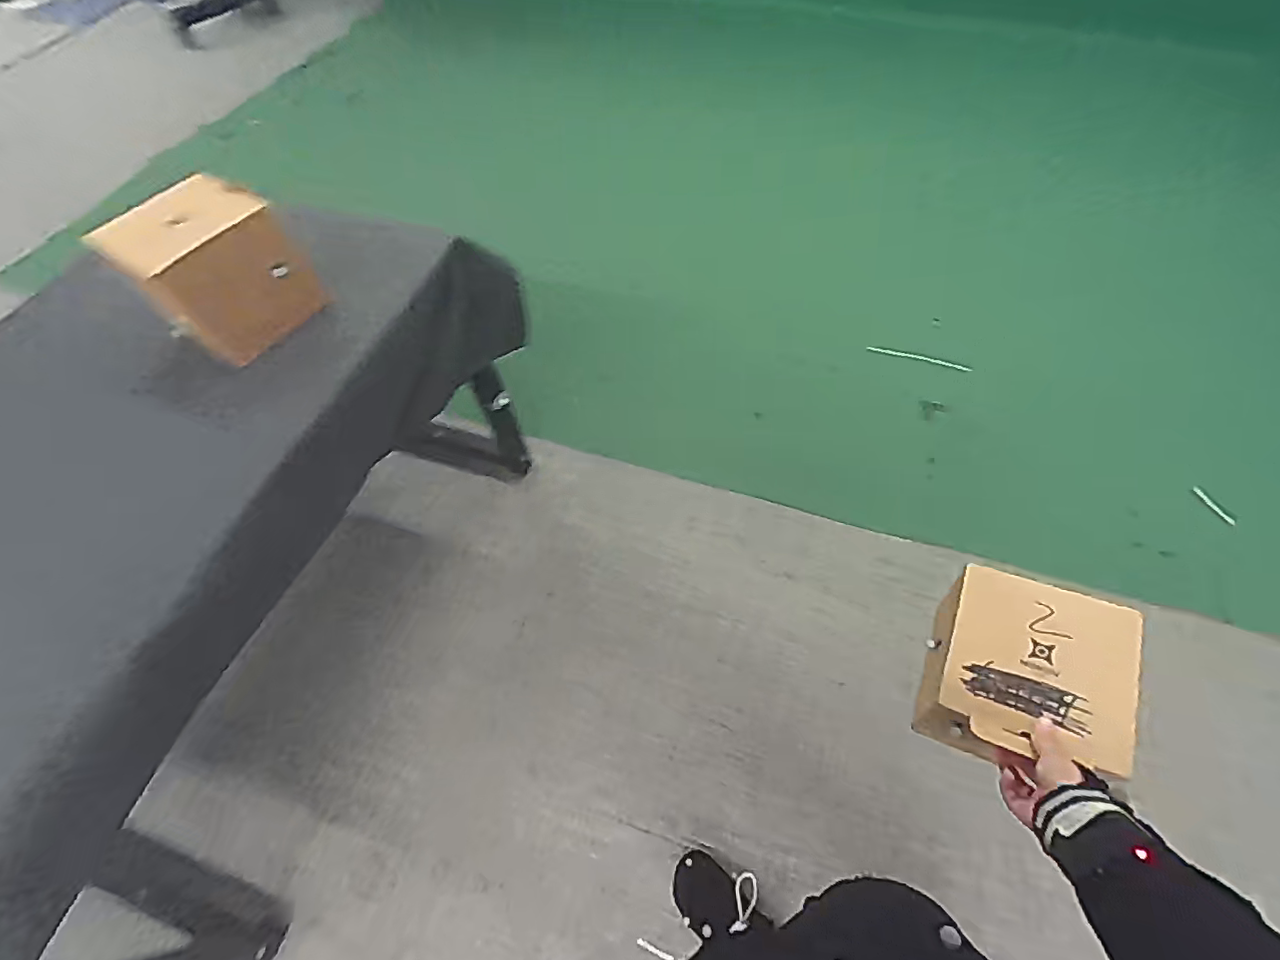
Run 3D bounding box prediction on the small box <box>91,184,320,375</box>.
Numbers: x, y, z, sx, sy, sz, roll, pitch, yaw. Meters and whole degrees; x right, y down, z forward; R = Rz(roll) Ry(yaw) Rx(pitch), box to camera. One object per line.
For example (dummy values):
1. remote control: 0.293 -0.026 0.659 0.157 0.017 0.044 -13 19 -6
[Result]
1. small box: -0.613 -0.291 0.794 0.168 0.176 0.179 27 65 19
